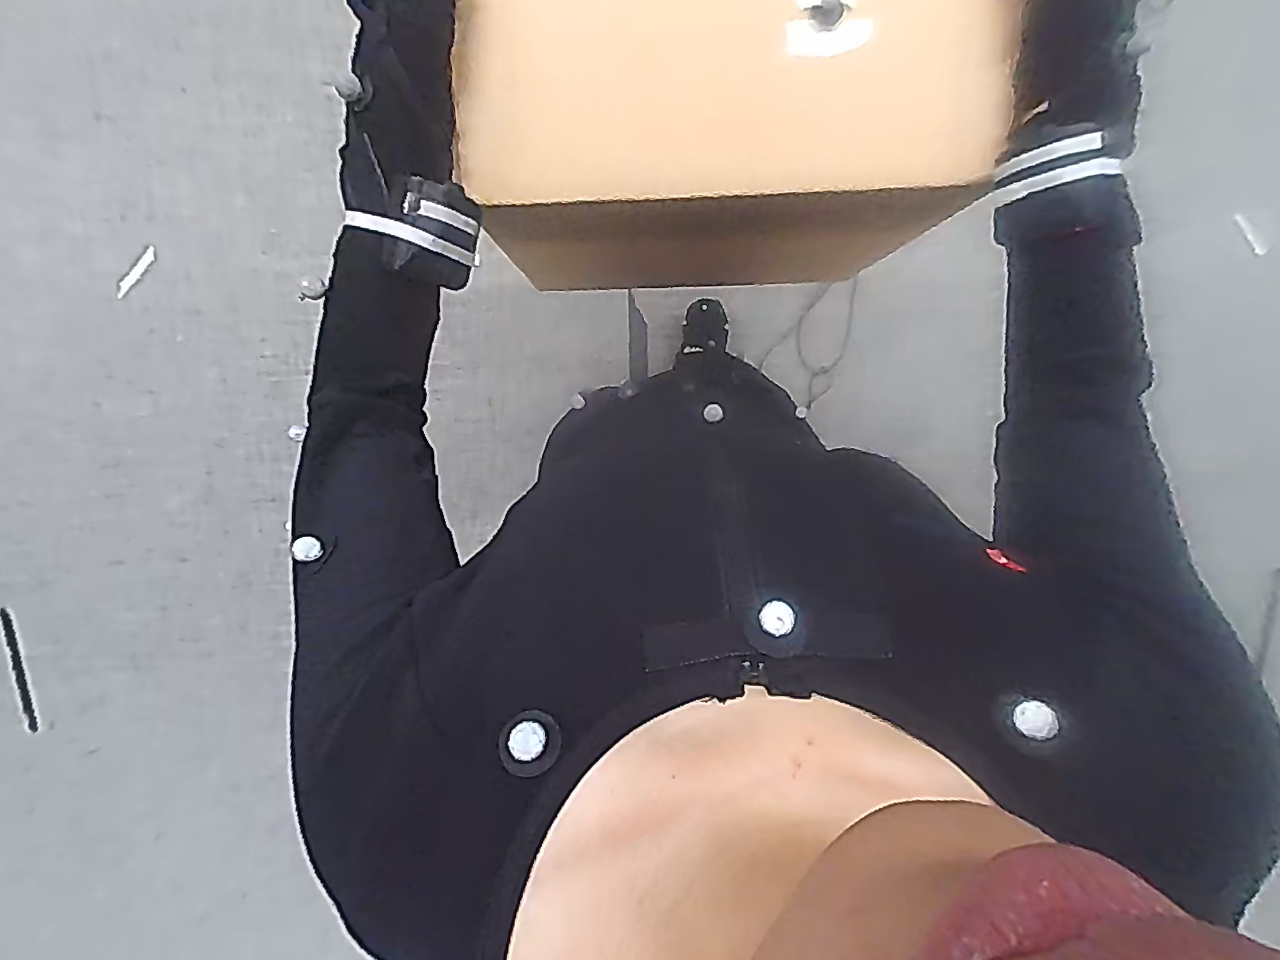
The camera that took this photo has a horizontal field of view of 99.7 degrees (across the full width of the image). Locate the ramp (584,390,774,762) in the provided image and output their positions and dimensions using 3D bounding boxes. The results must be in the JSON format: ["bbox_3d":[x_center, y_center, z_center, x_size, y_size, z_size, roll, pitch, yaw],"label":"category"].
[{"bbox_3d":[0.101,0.260,1.473,0.509,0.206,0.991,-3,99,2],"label":"ramp"}]

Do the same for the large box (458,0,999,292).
[{"bbox_3d":[0.061,-0.389,0.541,0.408,0.320,0.320,-2,97,0],"label":"large box"}]
